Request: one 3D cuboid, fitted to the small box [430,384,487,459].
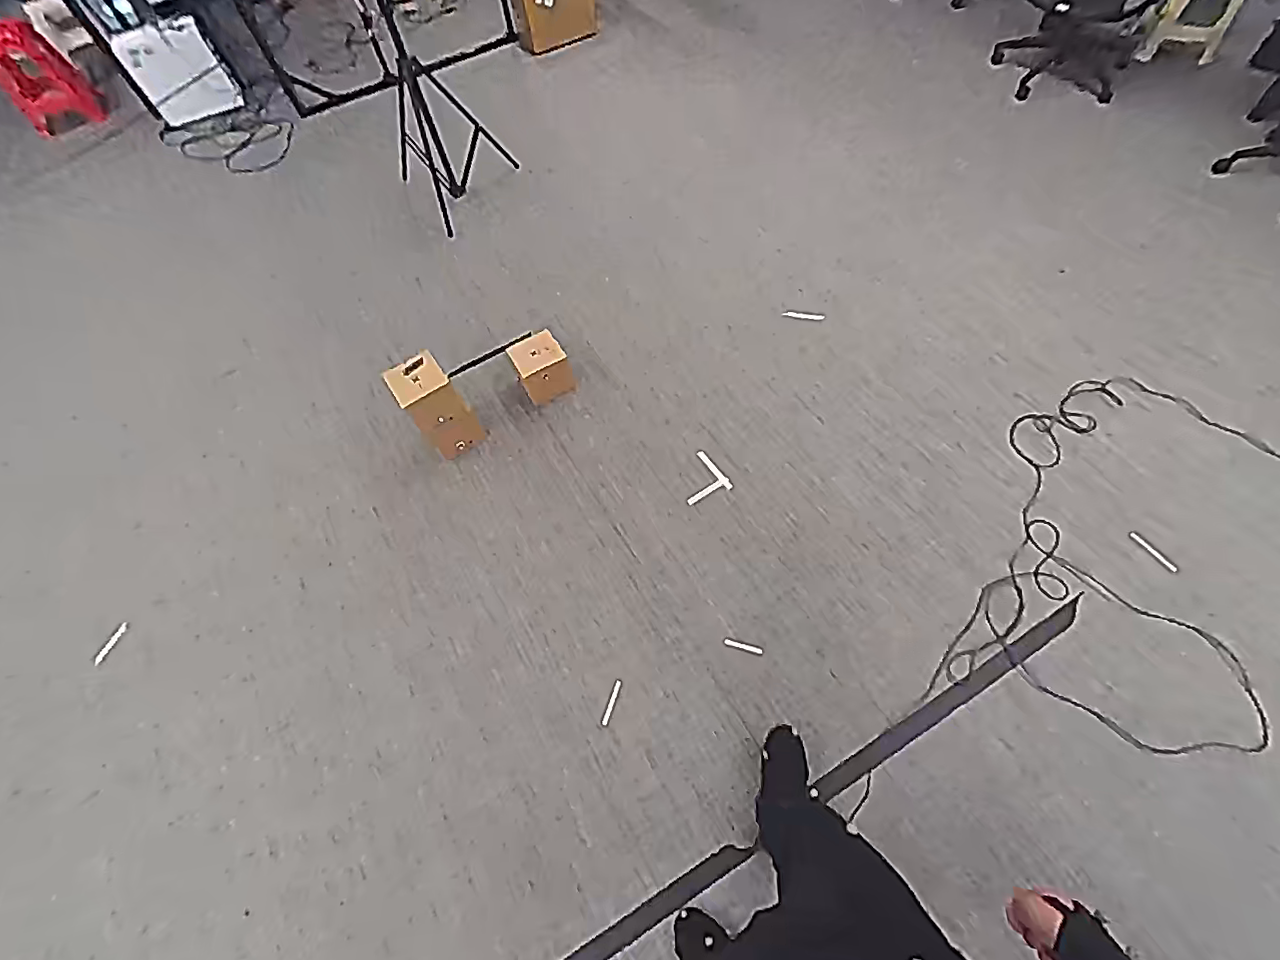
[{"bbox_3d":[-0.673,-0.206,1.912,0.168,0.176,0.179,-35,63,-13],"label":"small box"}]

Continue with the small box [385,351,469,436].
[{"bbox_3d":[-0.691,-0.279,1.766,0.168,0.176,0.179,-34,64,-12],"label":"small box"}]

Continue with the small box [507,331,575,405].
[{"bbox_3d":[-0.360,-0.407,1.994,0.179,0.176,0.168,-28,62,-11],"label":"small box"}]
